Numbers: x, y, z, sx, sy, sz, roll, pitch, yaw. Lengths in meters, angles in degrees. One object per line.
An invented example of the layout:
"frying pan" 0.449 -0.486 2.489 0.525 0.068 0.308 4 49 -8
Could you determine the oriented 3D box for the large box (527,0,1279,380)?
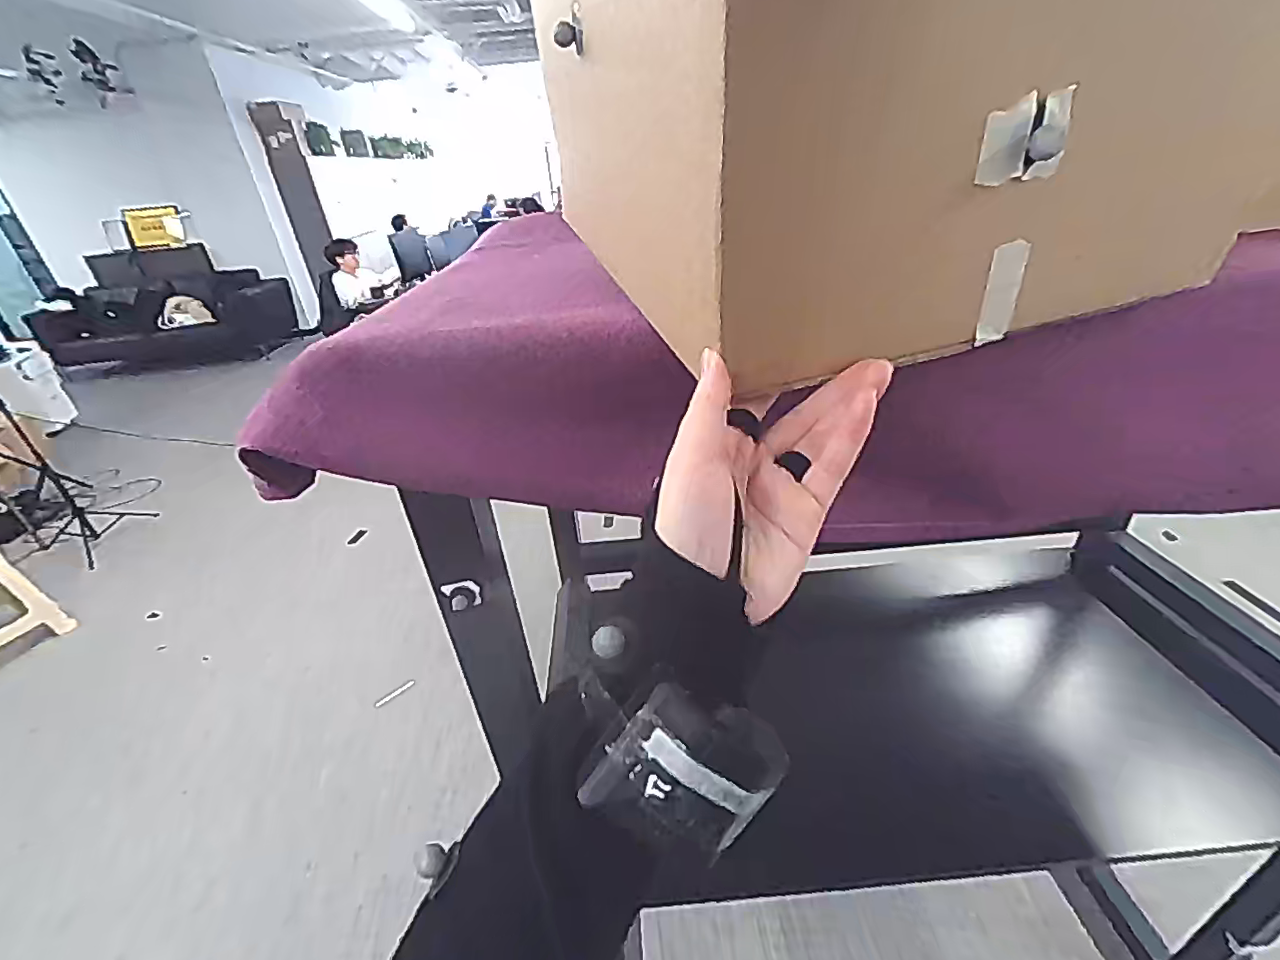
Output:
"large box" 0.112 -0.305 0.337 0.320 0.320 0.408 -14 38 -11
